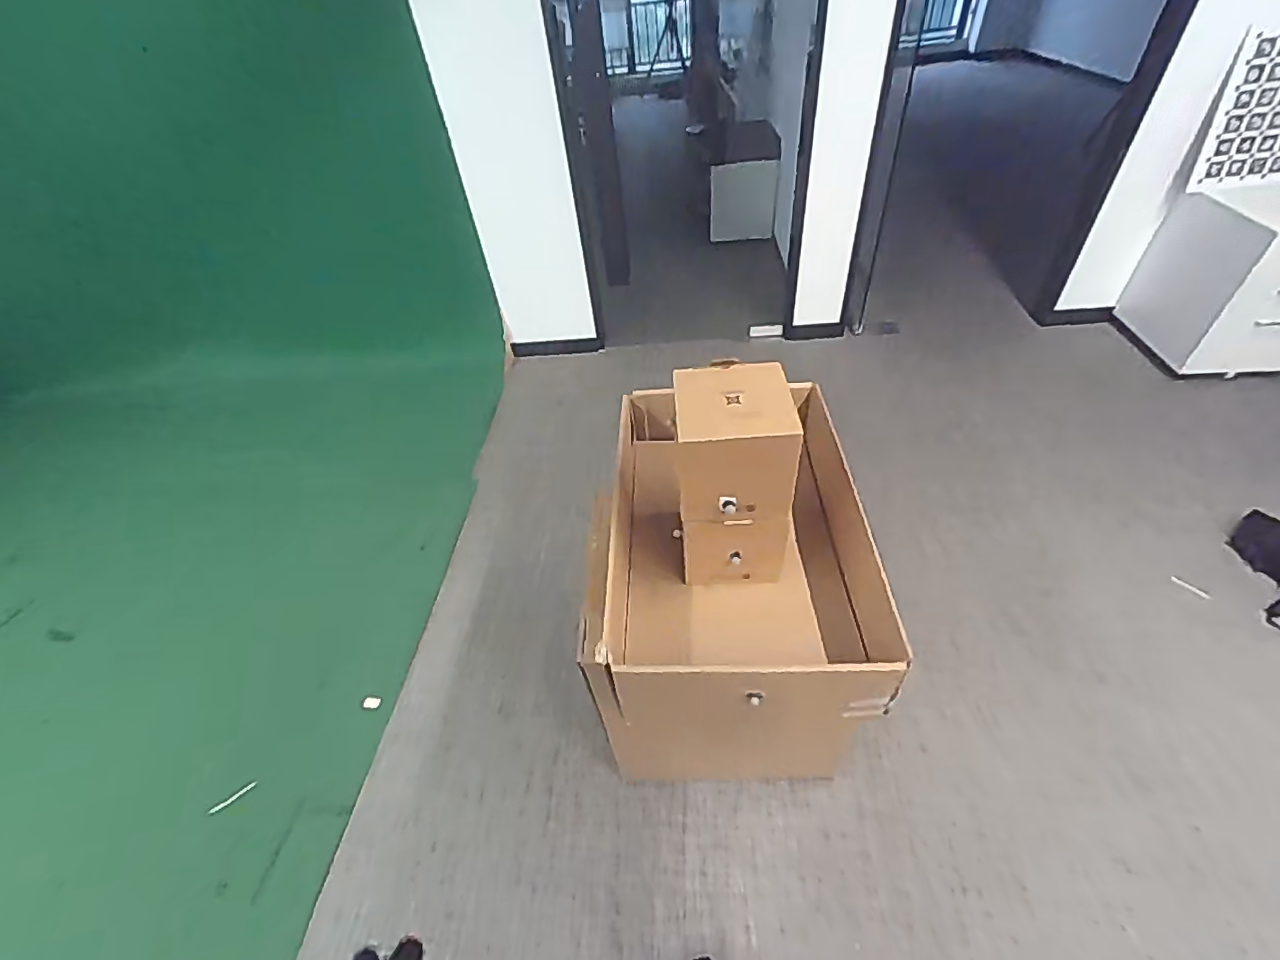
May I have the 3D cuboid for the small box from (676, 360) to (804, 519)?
[{"bbox_3d":[0.141,-0.061,0.826,0.168,0.176,0.179,-4,45,3],"label":"small box"}]
